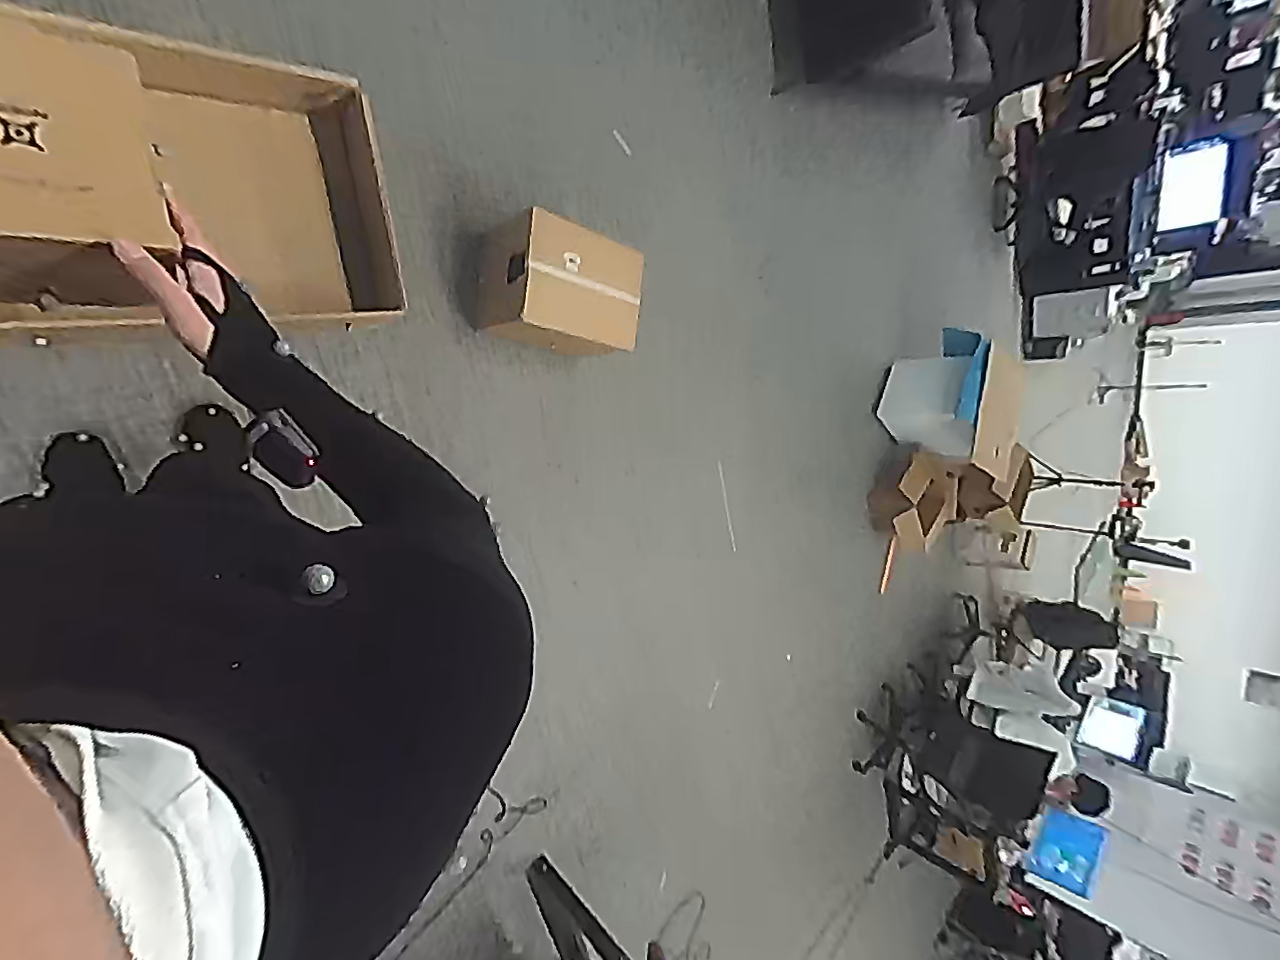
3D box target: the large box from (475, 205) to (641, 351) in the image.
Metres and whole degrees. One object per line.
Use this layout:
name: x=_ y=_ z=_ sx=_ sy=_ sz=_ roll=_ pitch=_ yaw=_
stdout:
large box: x=-0.257 y=-0.600 z=1.698 sx=0.408 sy=0.320 sz=0.320 roll=4 pitch=93 yaw=-41
